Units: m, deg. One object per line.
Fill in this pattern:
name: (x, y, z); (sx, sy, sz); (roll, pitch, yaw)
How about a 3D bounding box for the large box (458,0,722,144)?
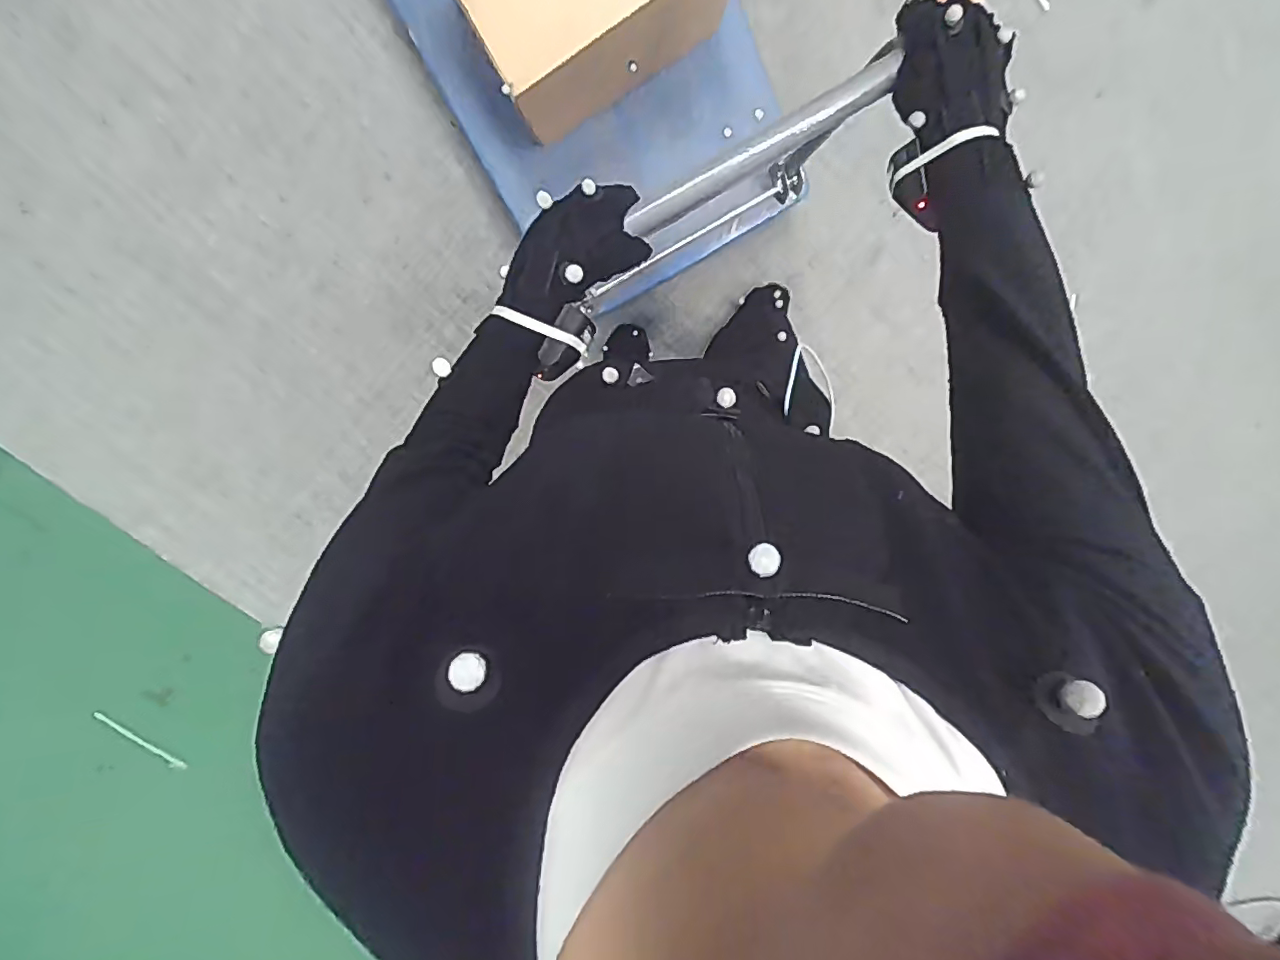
large box: (-0.095, -0.842, 0.877); (0.408, 0.320, 0.320); (-30, 107, 9)
